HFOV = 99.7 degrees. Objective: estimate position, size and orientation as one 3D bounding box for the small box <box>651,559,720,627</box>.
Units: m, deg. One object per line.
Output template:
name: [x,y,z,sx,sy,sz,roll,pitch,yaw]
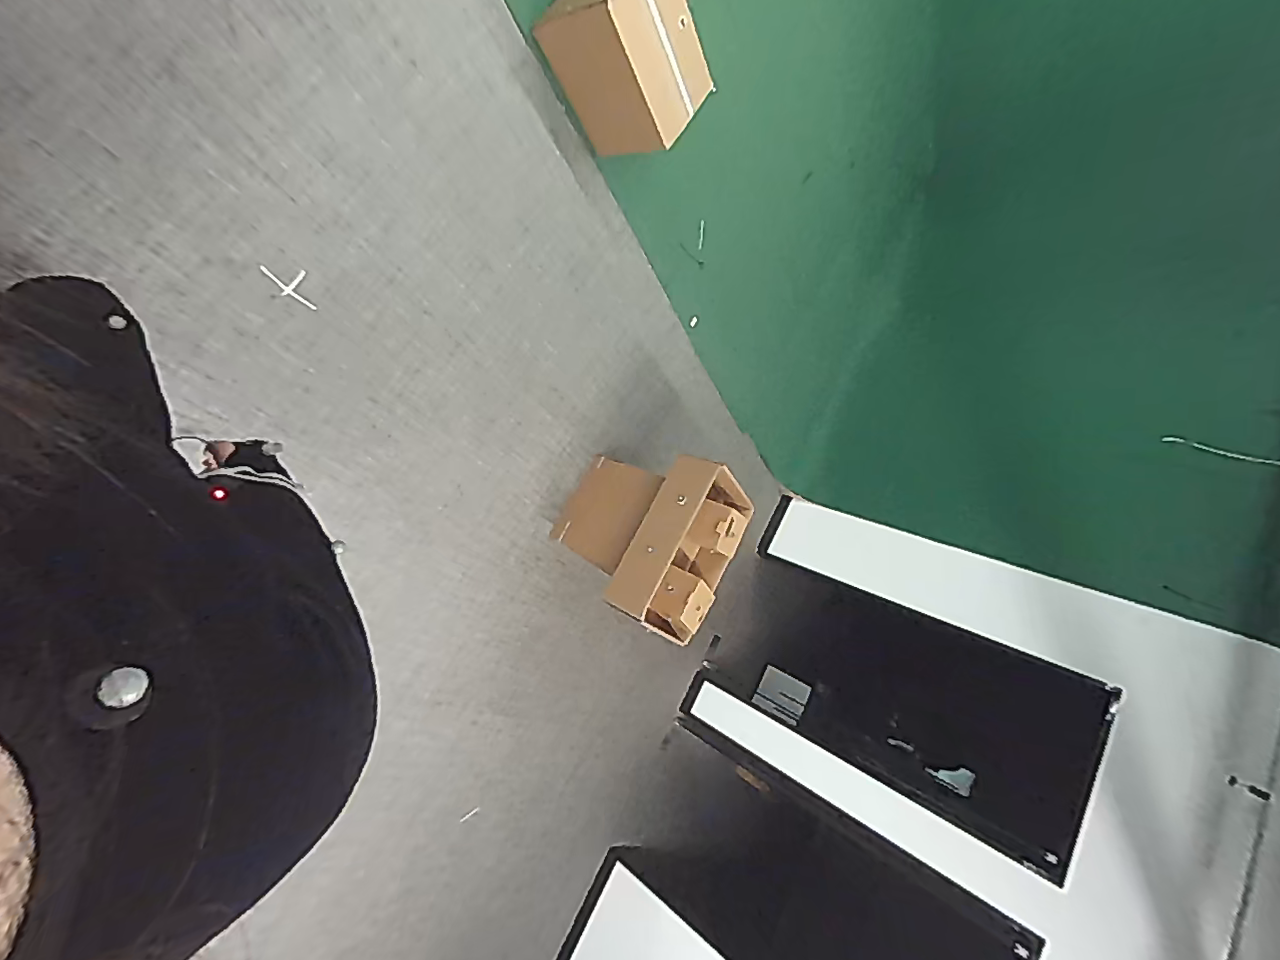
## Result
small box: [0.167,0.417,2.021,0.168,0.176,0.179,-56,140,-17]
